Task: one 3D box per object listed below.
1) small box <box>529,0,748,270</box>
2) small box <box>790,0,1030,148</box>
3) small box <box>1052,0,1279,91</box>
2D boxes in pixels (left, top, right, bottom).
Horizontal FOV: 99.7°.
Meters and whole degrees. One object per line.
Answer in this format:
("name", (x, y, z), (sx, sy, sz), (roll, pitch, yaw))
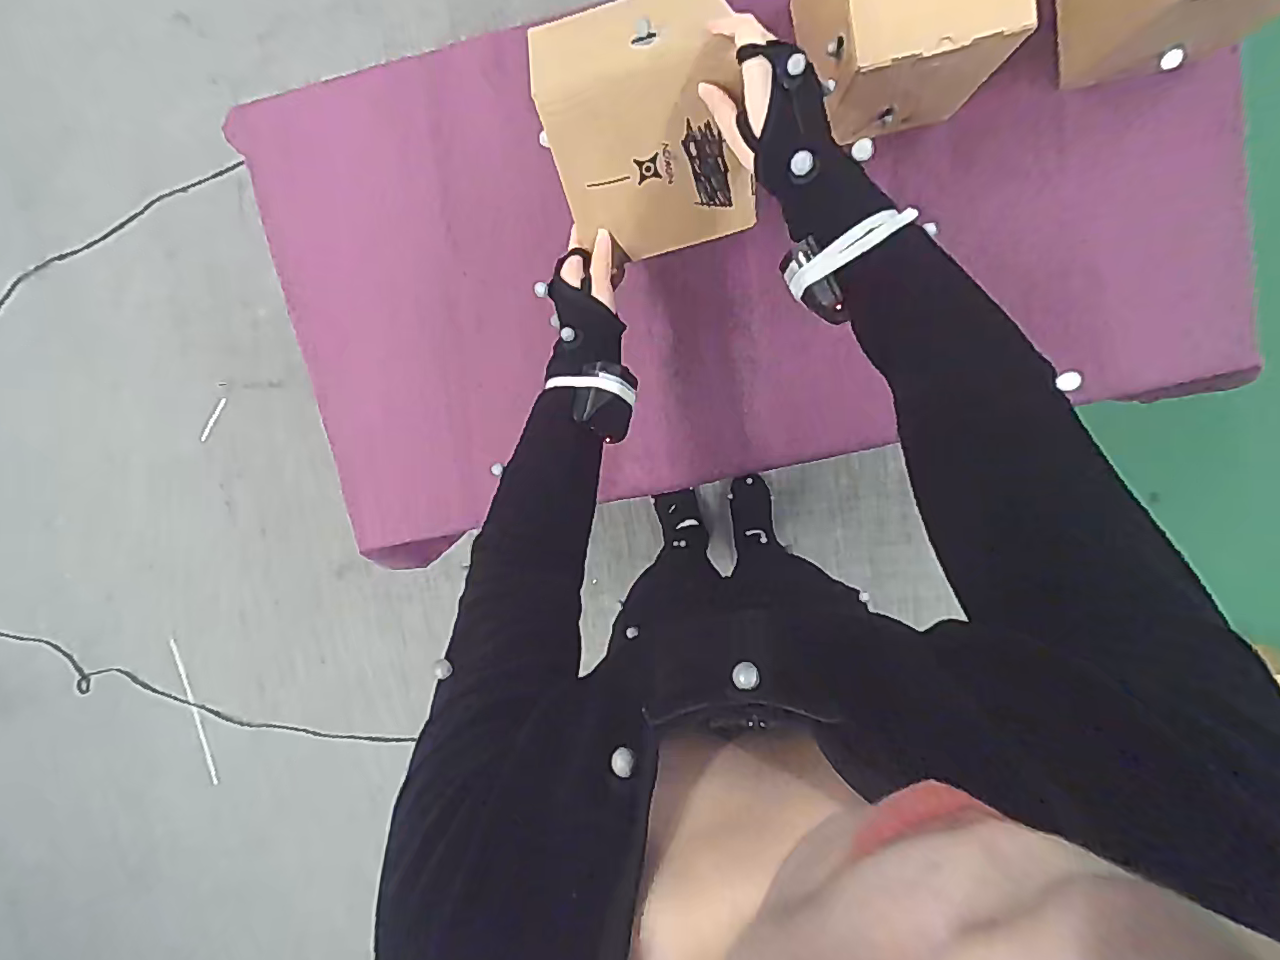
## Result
("small box", (-0.002, -0.347, 0.537), (0.179, 0.168, 0.176), (-13, 53, 6))
("small box", (0.267, -0.495, 0.572), (0.168, 0.176, 0.179), (-11, 98, 5))
("small box", (0.551, -0.541, 0.542), (0.168, 0.176, 0.179), (-9, 100, 6))
